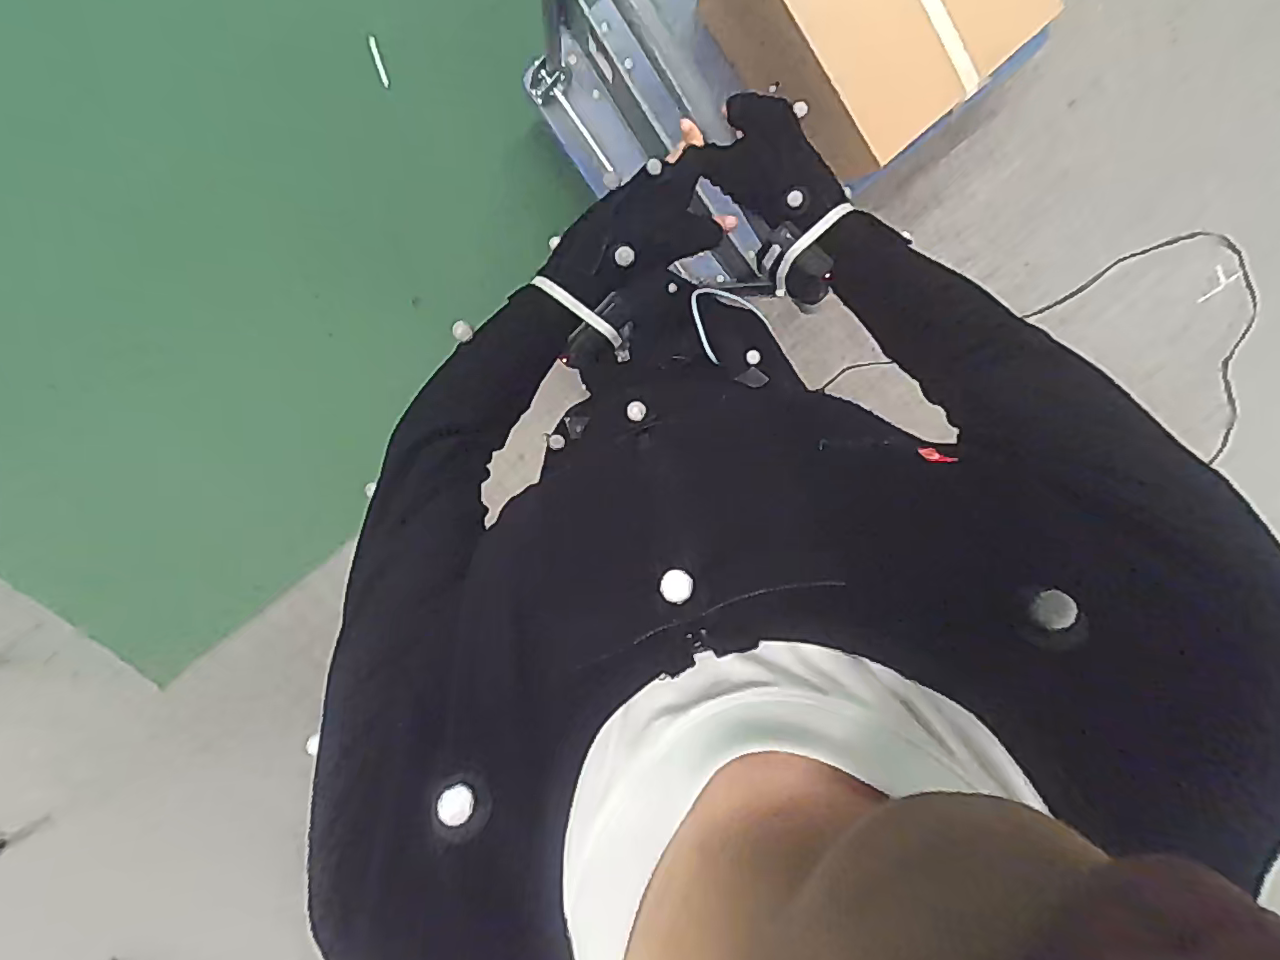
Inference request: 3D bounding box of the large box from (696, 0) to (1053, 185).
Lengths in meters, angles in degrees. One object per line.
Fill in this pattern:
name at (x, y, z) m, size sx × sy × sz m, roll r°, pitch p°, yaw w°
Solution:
large box at (0.348, -0.782, 0.890) m, size 0.320 × 0.320 × 0.408 m, roll -39°, pitch 107°, yaw 11°
